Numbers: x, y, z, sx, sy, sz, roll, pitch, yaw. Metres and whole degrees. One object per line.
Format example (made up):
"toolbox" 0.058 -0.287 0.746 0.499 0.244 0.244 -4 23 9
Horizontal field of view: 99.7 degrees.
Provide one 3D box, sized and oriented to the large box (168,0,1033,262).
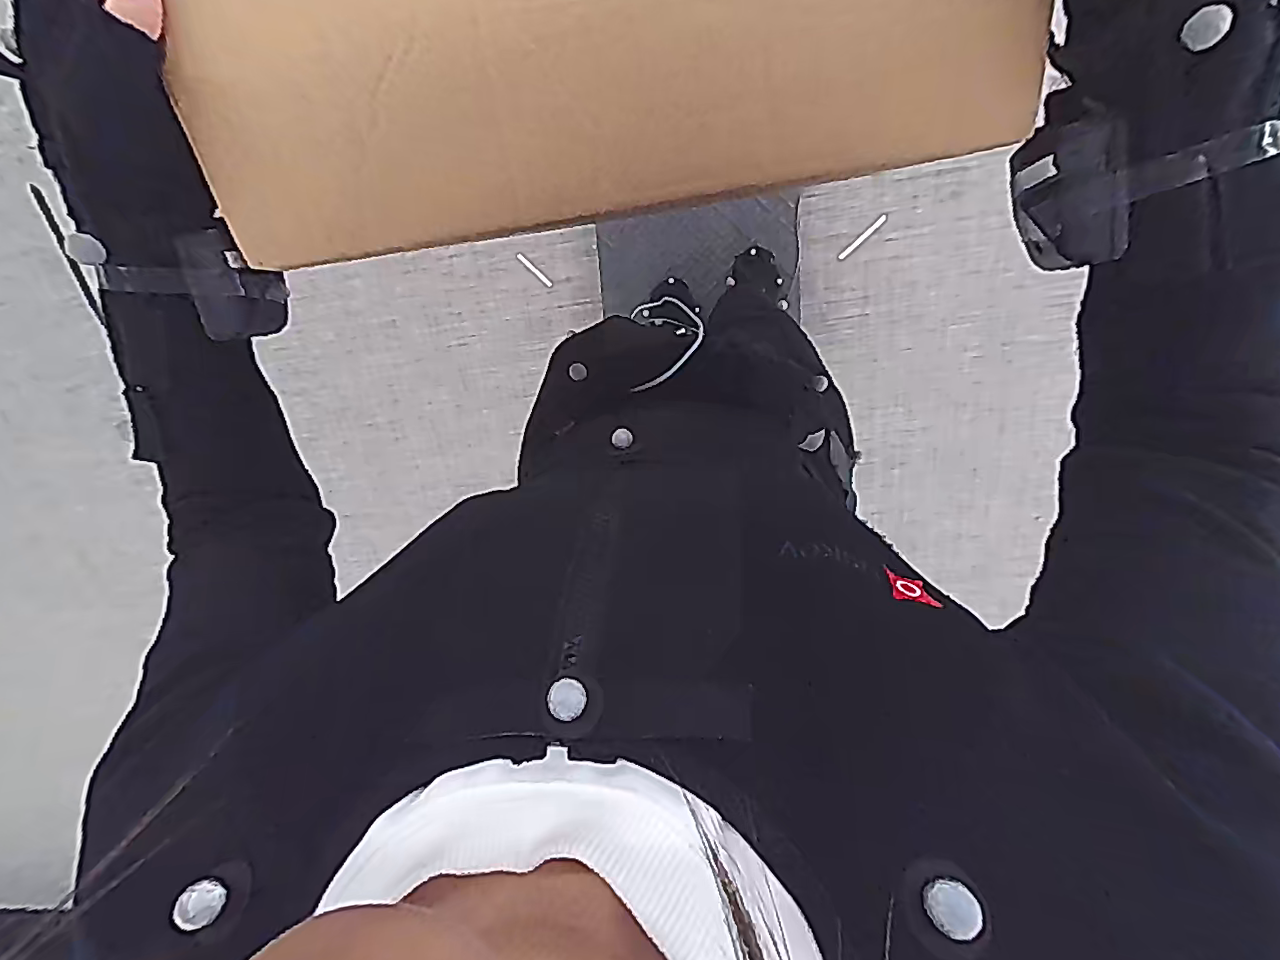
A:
"large box" -0.028 -0.350 0.354 0.408 0.320 0.320 -6 117 9
